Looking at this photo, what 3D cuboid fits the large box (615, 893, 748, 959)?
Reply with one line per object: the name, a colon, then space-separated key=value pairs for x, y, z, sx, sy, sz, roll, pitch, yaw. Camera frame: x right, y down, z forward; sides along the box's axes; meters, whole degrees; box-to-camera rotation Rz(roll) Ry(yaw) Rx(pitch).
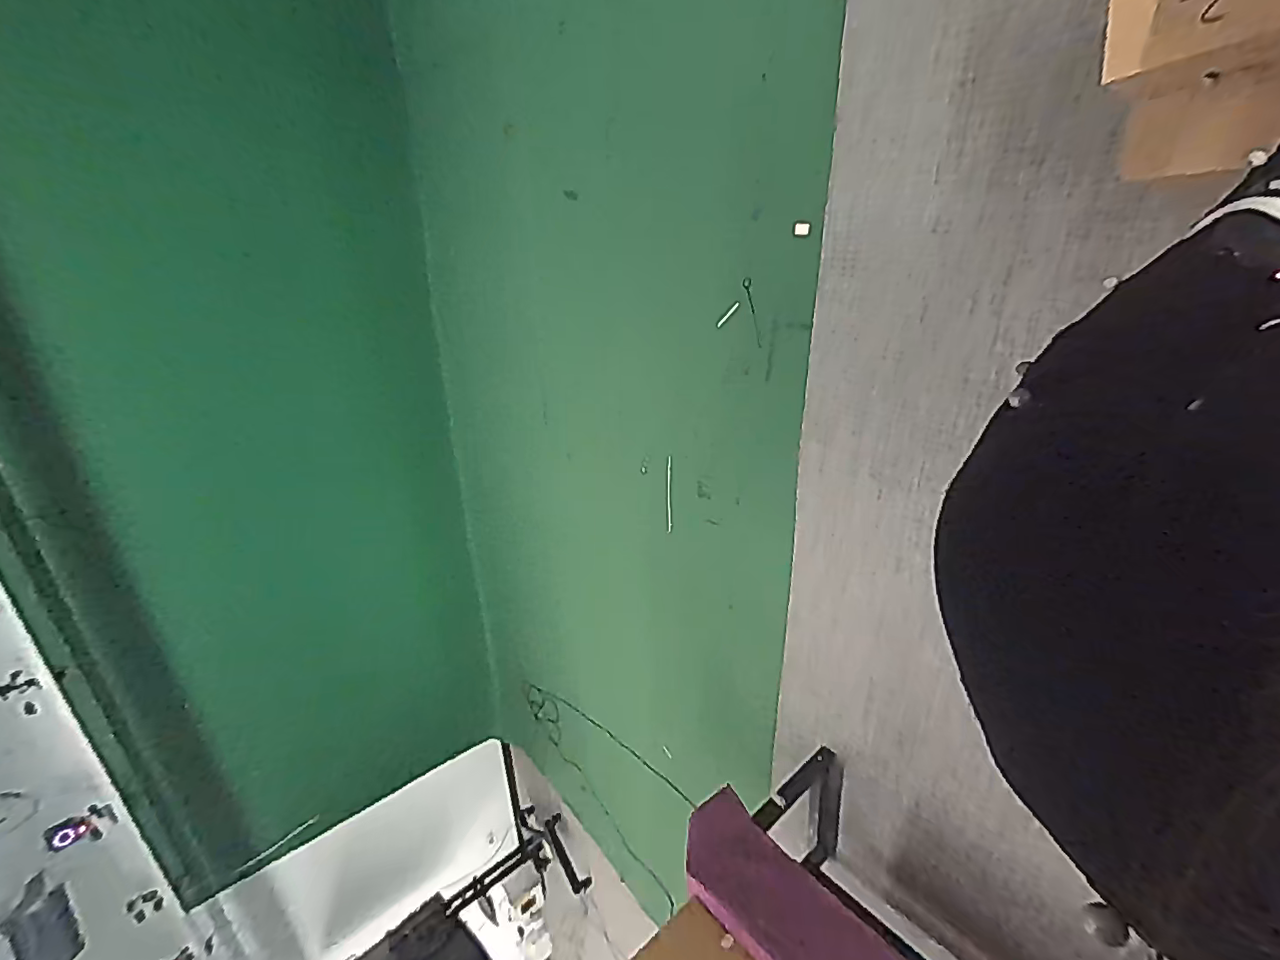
large box: x=0.125 y=1.518 z=1.527 sx=0.320 sy=0.320 sz=0.408 roll=22 pitch=121 yaw=45
